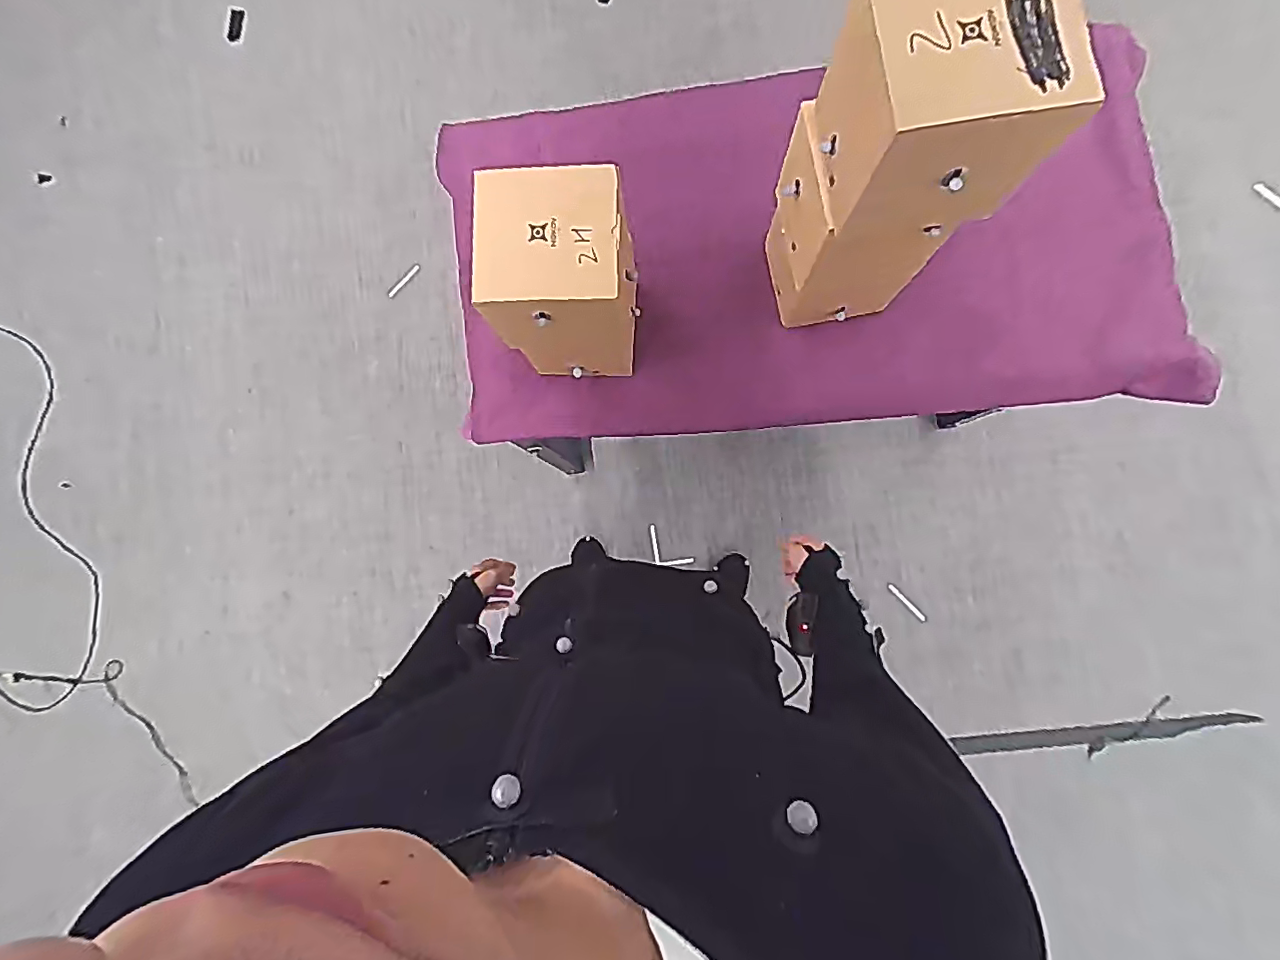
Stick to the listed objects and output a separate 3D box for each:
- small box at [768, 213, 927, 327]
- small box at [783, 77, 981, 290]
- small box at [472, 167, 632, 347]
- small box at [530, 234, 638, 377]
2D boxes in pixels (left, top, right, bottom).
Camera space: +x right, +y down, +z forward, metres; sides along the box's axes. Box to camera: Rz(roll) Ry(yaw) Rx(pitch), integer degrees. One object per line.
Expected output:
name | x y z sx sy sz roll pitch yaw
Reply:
small box | 0.319 -0.364 0.865 0.179 0.176 0.168 -10 83 1
small box | 0.293 -0.368 0.703 0.179 0.176 0.168 -10 83 2
small box | -0.104 -0.280 0.712 0.179 0.176 0.168 0 86 3
small box | -0.091 -0.277 0.877 0.168 0.176 0.179 2 86 3
